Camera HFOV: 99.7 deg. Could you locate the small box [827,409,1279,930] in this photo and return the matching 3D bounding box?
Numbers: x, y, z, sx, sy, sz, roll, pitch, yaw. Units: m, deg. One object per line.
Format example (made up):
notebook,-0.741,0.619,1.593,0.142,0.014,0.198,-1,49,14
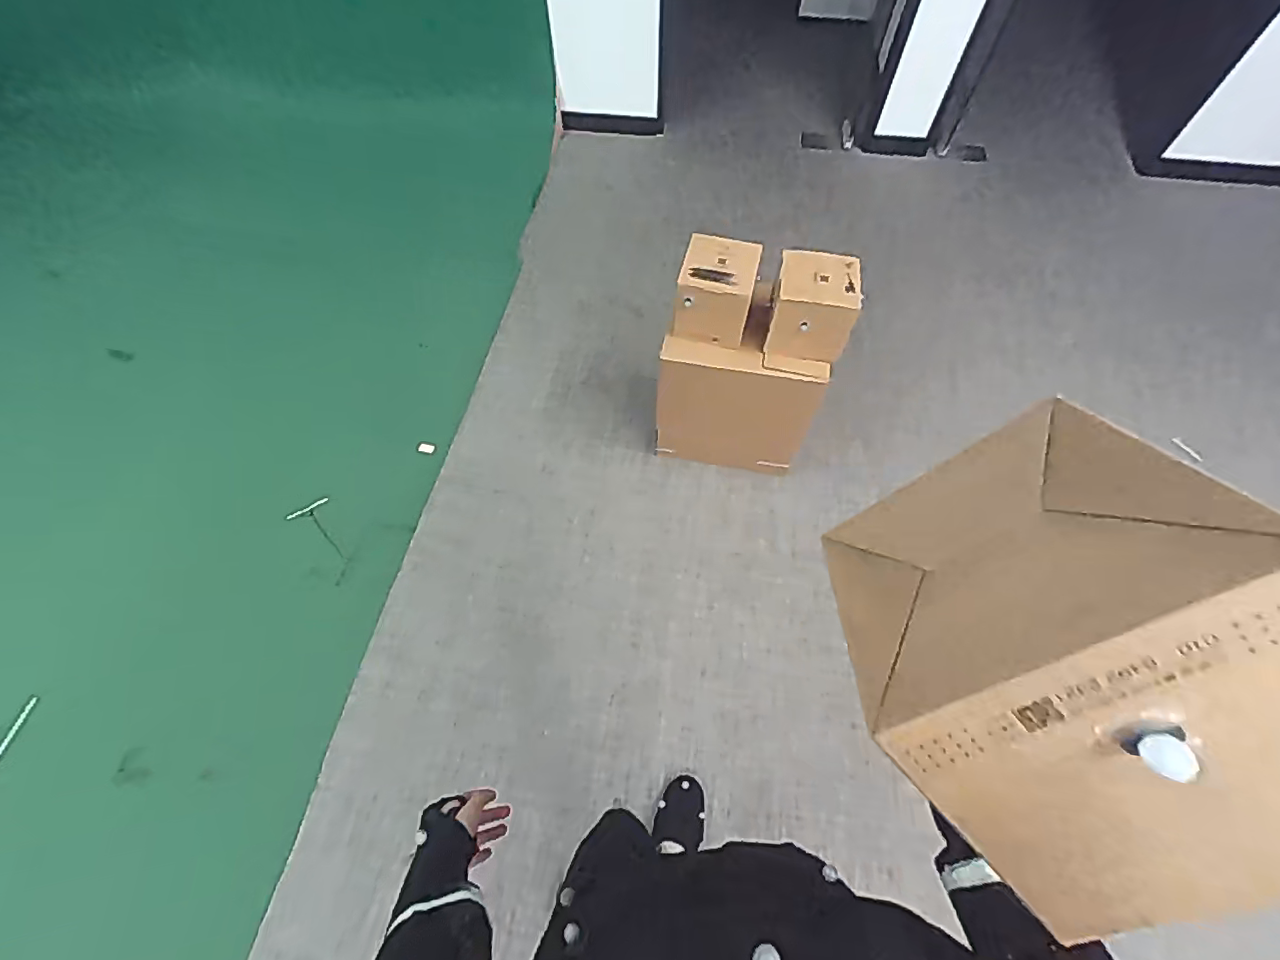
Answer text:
small box,0.226,0.085,0.298,0.176,0.168,0.179,47,24,-10
